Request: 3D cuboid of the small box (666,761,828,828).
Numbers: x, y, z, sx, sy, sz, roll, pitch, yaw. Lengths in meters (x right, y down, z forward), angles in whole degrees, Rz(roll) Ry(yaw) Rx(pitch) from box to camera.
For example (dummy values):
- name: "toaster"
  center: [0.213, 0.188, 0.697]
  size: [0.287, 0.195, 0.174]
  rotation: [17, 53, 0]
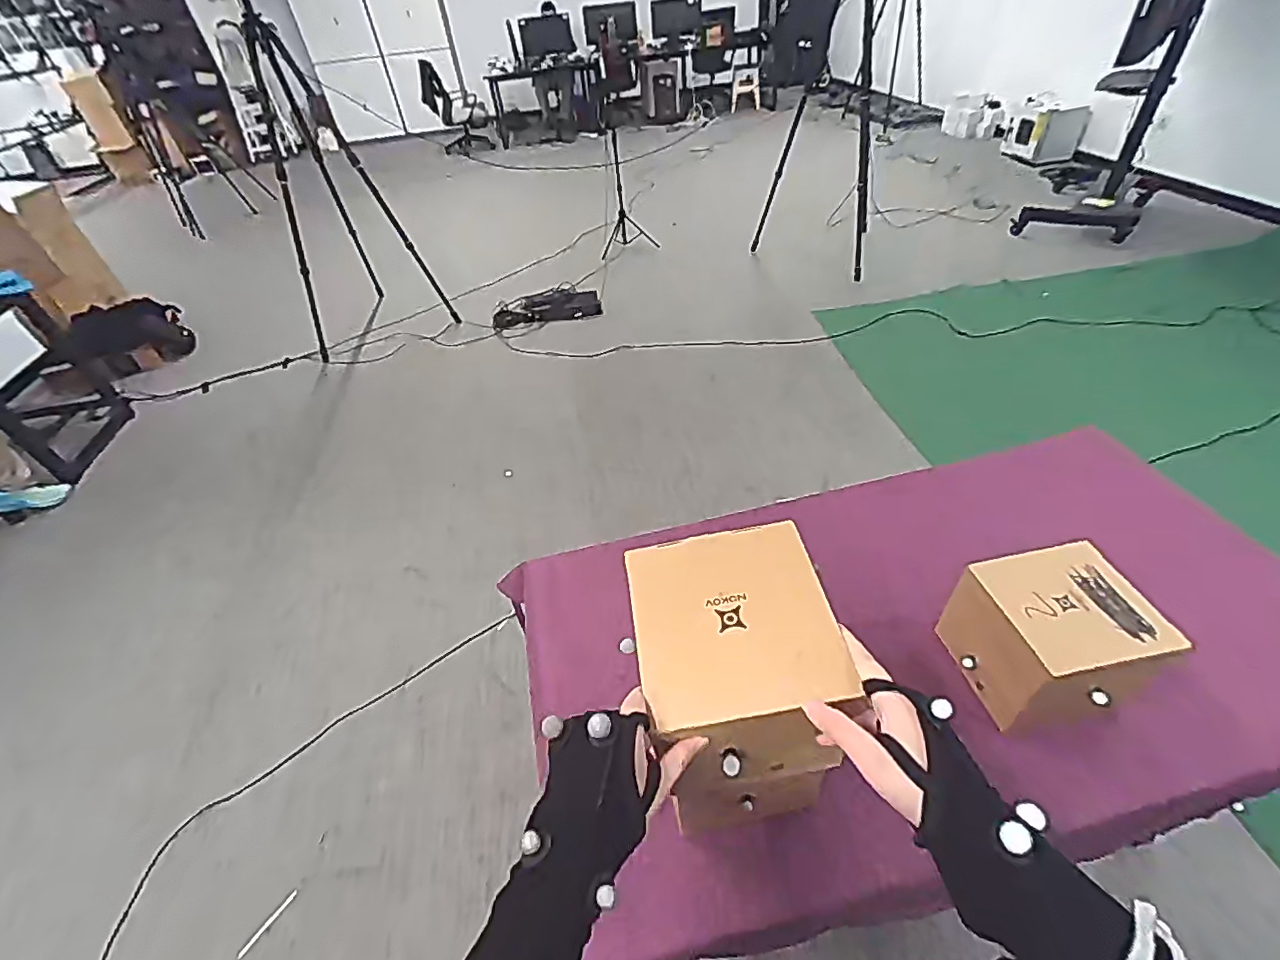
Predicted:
- name: "small box"
  center: [0.114, 0.312, 0.686]
  size: [0.179, 0.176, 0.168]
  rotation: [-12, 43, -4]

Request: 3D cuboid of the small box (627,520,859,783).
- name: "small box"
  center: [0.089, 0.169, 0.518]
  size: [0.168, 0.176, 0.179]
  rotation: [-11, 44, 1]
